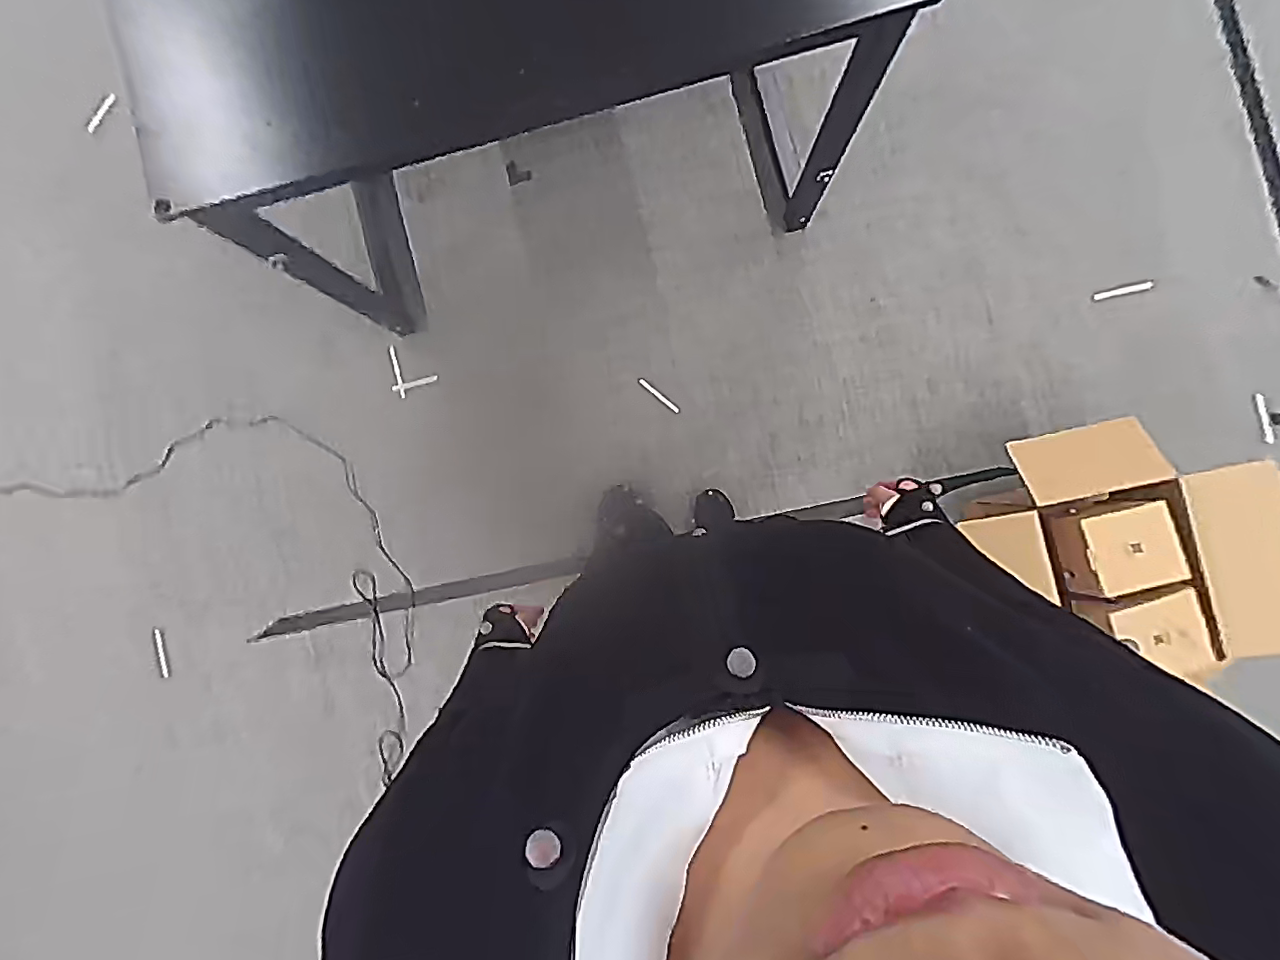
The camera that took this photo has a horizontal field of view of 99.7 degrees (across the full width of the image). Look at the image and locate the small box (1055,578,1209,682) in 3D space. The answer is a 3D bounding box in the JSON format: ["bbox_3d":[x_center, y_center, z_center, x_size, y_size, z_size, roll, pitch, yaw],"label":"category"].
[{"bbox_3d":[1.061,0.312,1.189,0.179,0.176,0.168,-20,93,3],"label":"small box"}]

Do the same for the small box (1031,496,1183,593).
[{"bbox_3d":[1.011,0.140,1.193,0.179,0.176,0.168,-16,86,1],"label":"small box"}]
